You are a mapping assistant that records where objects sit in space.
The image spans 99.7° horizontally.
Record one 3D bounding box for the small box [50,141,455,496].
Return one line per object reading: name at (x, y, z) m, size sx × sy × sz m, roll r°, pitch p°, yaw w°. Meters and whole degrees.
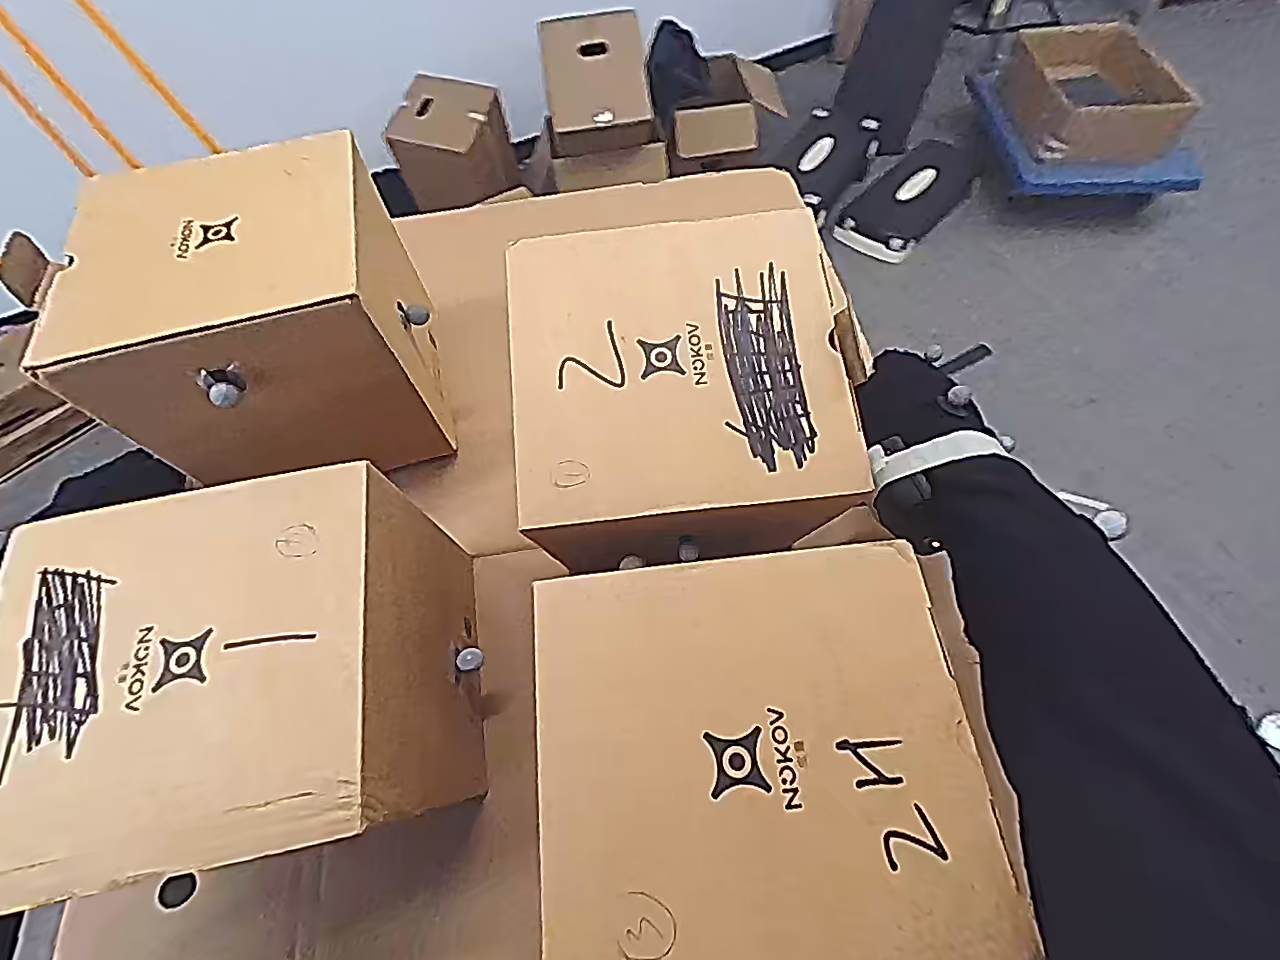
small box at (-0.250, -0.109, 0.405) m, size 0.179 × 0.176 × 0.168 m, roll -14°, pitch 62°, yaw -4°
